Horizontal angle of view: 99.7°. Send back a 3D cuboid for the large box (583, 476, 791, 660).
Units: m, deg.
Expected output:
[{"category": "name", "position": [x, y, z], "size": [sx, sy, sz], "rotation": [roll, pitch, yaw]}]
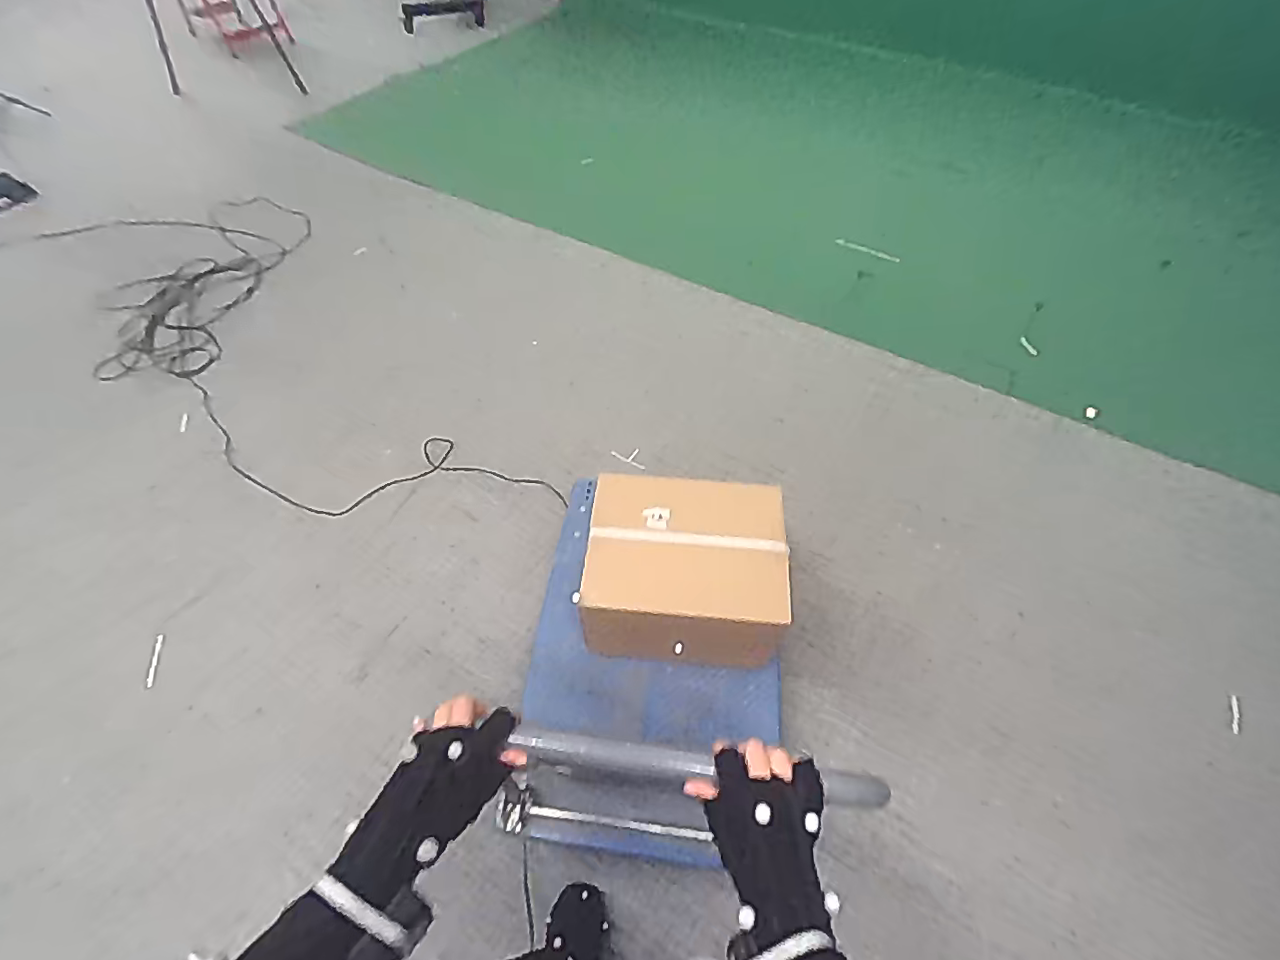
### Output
[{"category": "large box", "position": [0.100, 0.208, 1.234], "size": [0.408, 0.320, 0.320], "rotation": [3, 55, 3]}]
